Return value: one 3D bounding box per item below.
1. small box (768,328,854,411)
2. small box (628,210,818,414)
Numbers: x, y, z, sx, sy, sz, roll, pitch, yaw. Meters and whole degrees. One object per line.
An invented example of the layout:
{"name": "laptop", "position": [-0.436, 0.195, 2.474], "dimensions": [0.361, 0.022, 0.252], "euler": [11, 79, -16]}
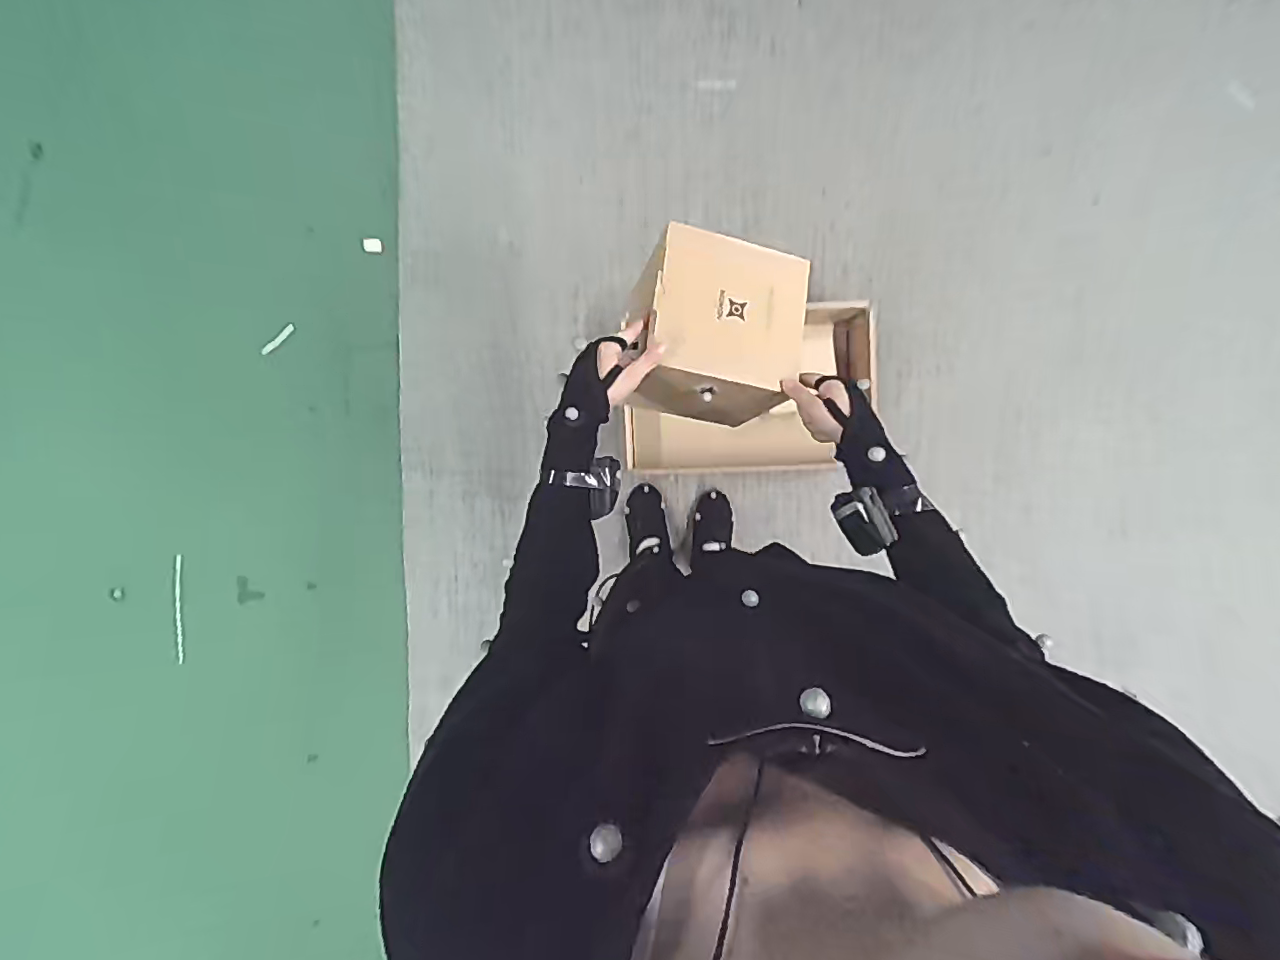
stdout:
{"name": "small box", "position": [0.414, -0.270, 1.360], "dimensions": [0.179, 0.176, 0.168], "euler": [-9, 93, 3]}
{"name": "small box", "position": [0.090, -0.189, 0.662], "dimensions": [0.179, 0.176, 0.168], "euler": [10, 81, -12]}
